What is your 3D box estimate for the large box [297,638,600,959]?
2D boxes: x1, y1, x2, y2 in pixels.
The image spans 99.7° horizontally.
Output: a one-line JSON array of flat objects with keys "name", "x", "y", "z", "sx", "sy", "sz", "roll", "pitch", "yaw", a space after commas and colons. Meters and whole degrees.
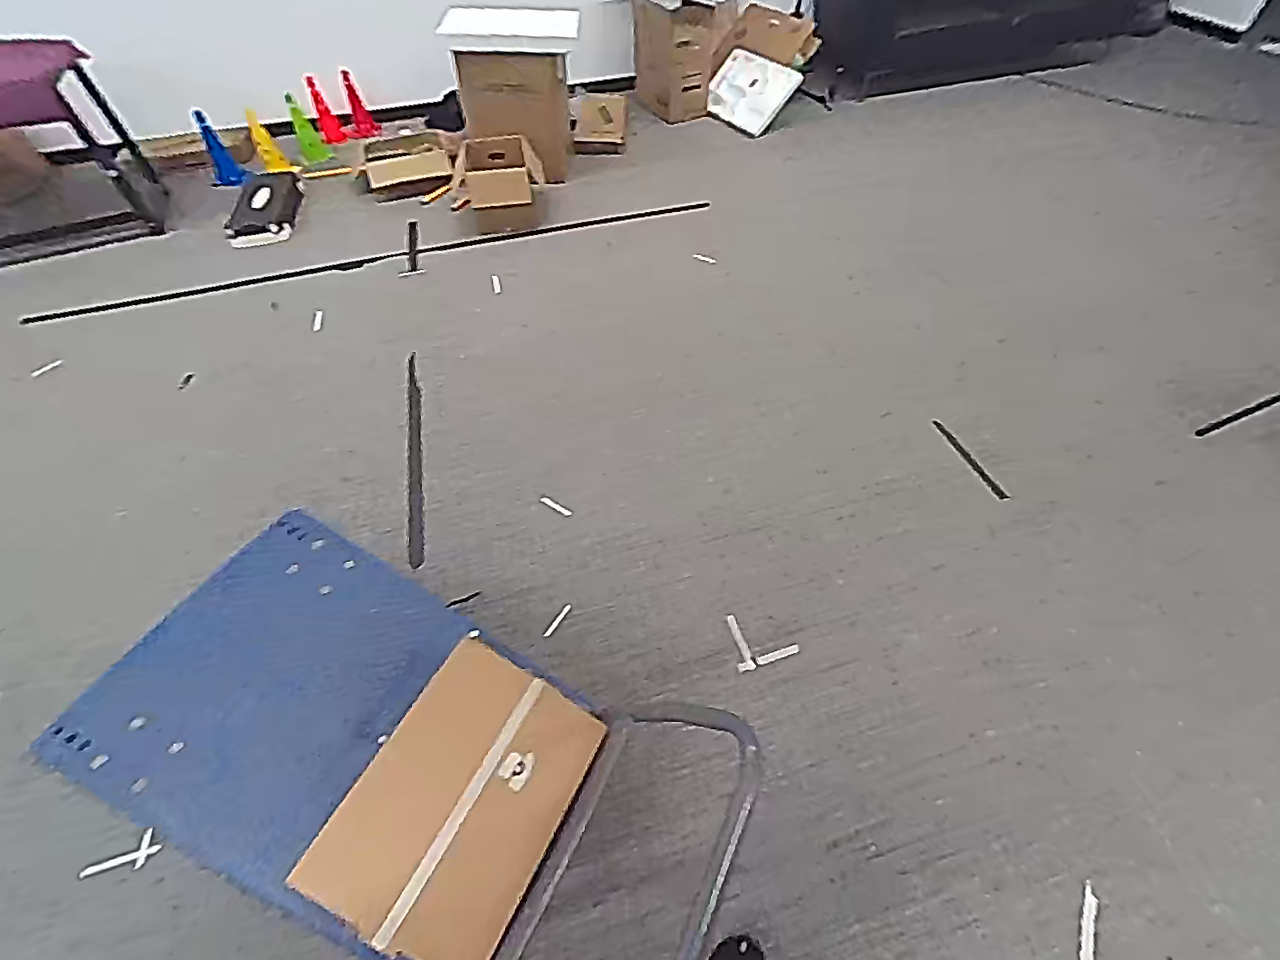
[{"name": "large box", "x": -0.334, "y": 0.573, "z": 0.999, "sx": 0.320, "sy": 0.320, "sz": 0.408, "roll": 35, "pitch": 55, "yaw": -5}]
